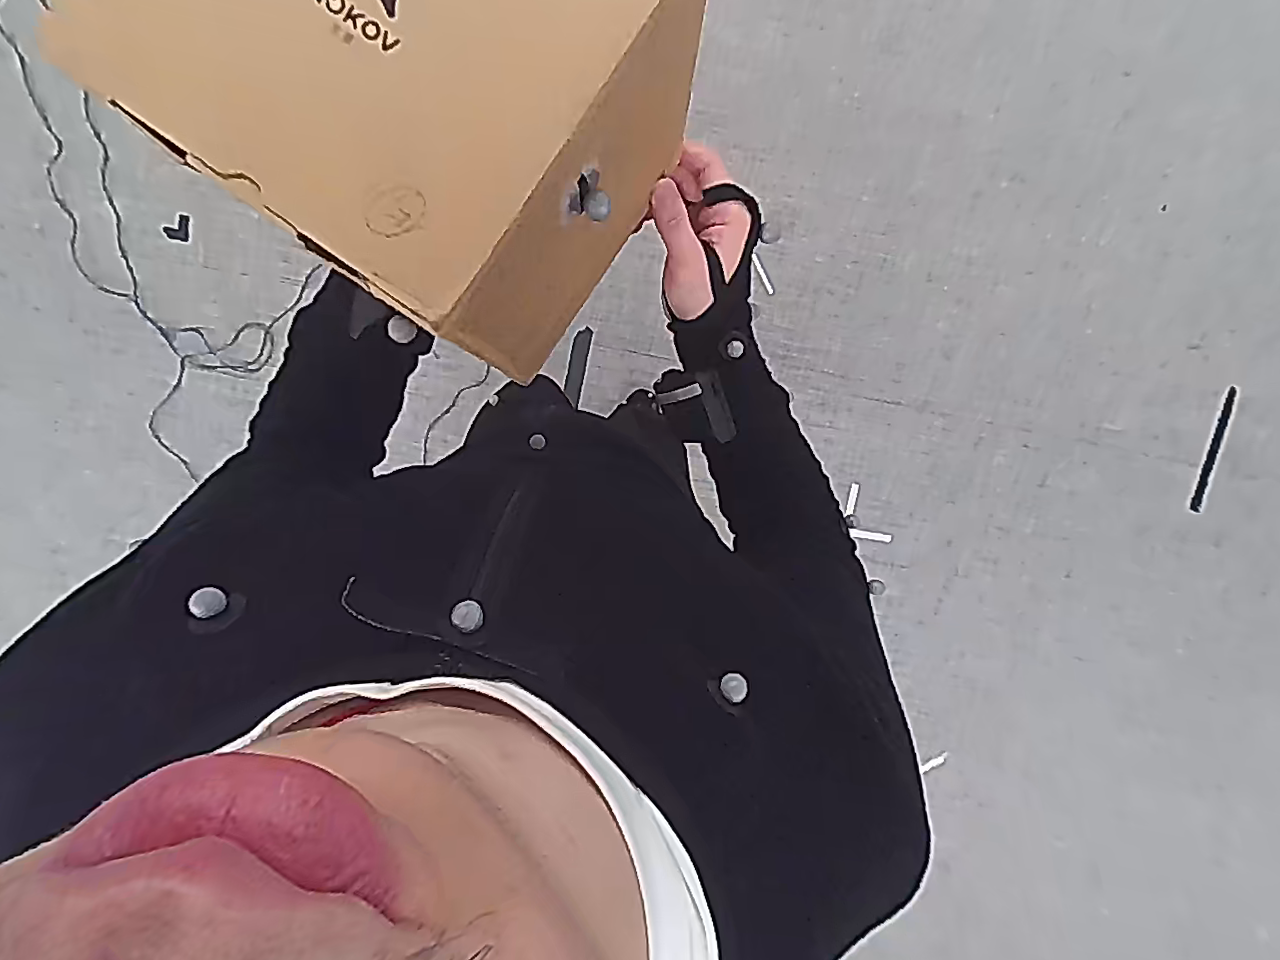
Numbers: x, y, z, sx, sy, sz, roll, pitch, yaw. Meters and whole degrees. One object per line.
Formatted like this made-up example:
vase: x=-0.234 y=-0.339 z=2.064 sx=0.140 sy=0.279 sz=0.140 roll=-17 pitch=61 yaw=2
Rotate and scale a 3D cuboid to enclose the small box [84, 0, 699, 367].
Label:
small box: x=-0.087 y=-0.178 z=0.273 sx=0.168 sy=0.176 sz=0.179 roll=35 pitch=91 yaw=-4
